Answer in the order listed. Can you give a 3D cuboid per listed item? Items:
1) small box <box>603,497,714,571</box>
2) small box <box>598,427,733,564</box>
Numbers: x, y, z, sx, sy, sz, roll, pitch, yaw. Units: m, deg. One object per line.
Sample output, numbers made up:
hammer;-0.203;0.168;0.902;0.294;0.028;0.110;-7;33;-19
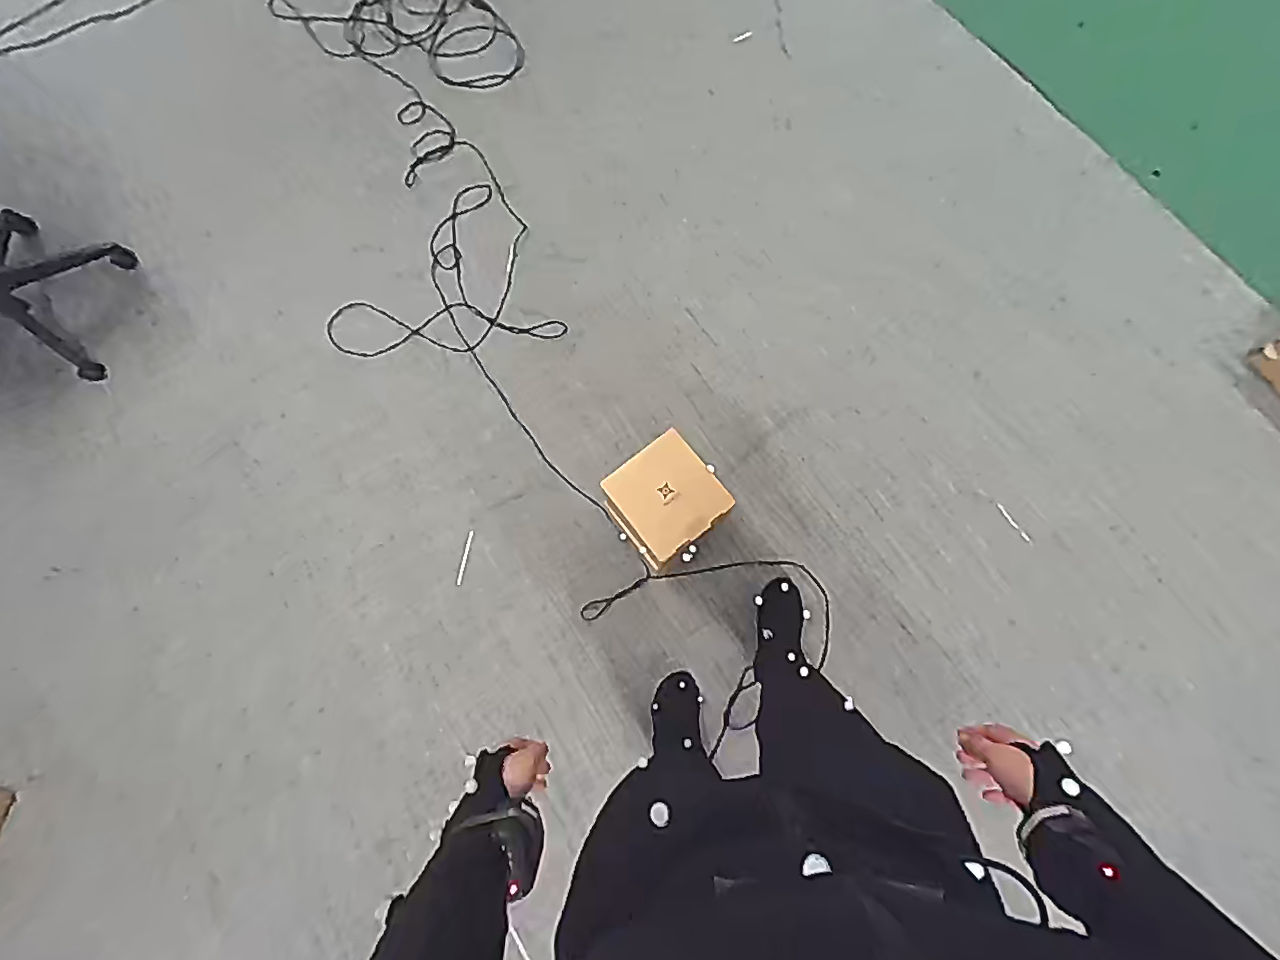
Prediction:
small box;0.042;0.077;1.152;0.168;0.176;0.179;-37;78;-6
small box;0.043;0.038;0.994;0.168;0.176;0.179;-38;79;-7
